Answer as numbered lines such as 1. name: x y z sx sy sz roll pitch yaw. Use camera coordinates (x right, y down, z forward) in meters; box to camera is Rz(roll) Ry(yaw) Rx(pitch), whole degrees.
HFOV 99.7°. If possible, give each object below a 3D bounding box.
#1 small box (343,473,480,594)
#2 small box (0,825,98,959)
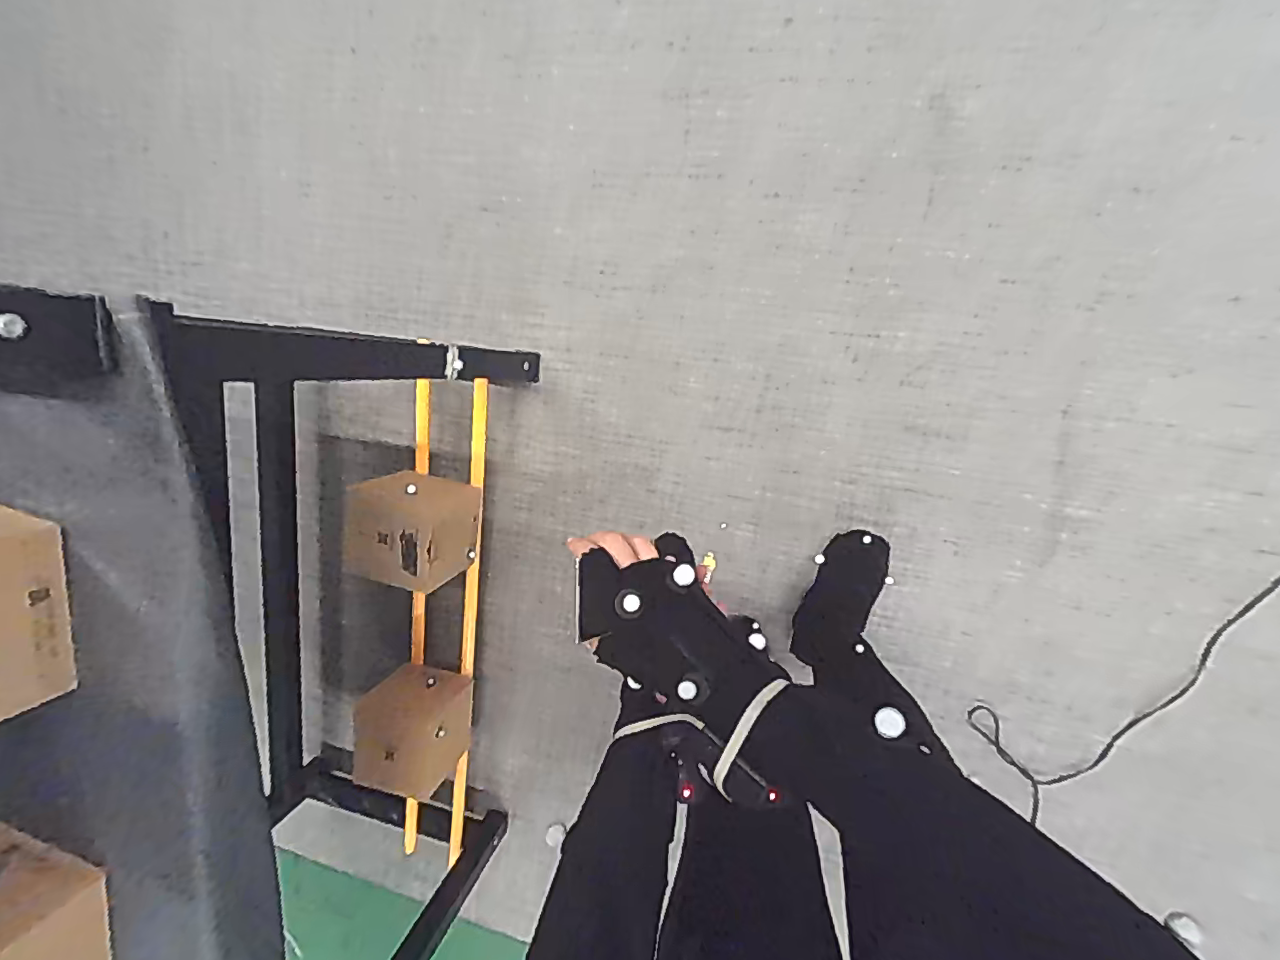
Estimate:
1. small box: -0.425 0.090 1.023 0.179 0.176 0.168 13 103 11
2. small box: -0.654 0.472 0.499 0.168 0.176 0.179 12 104 11
